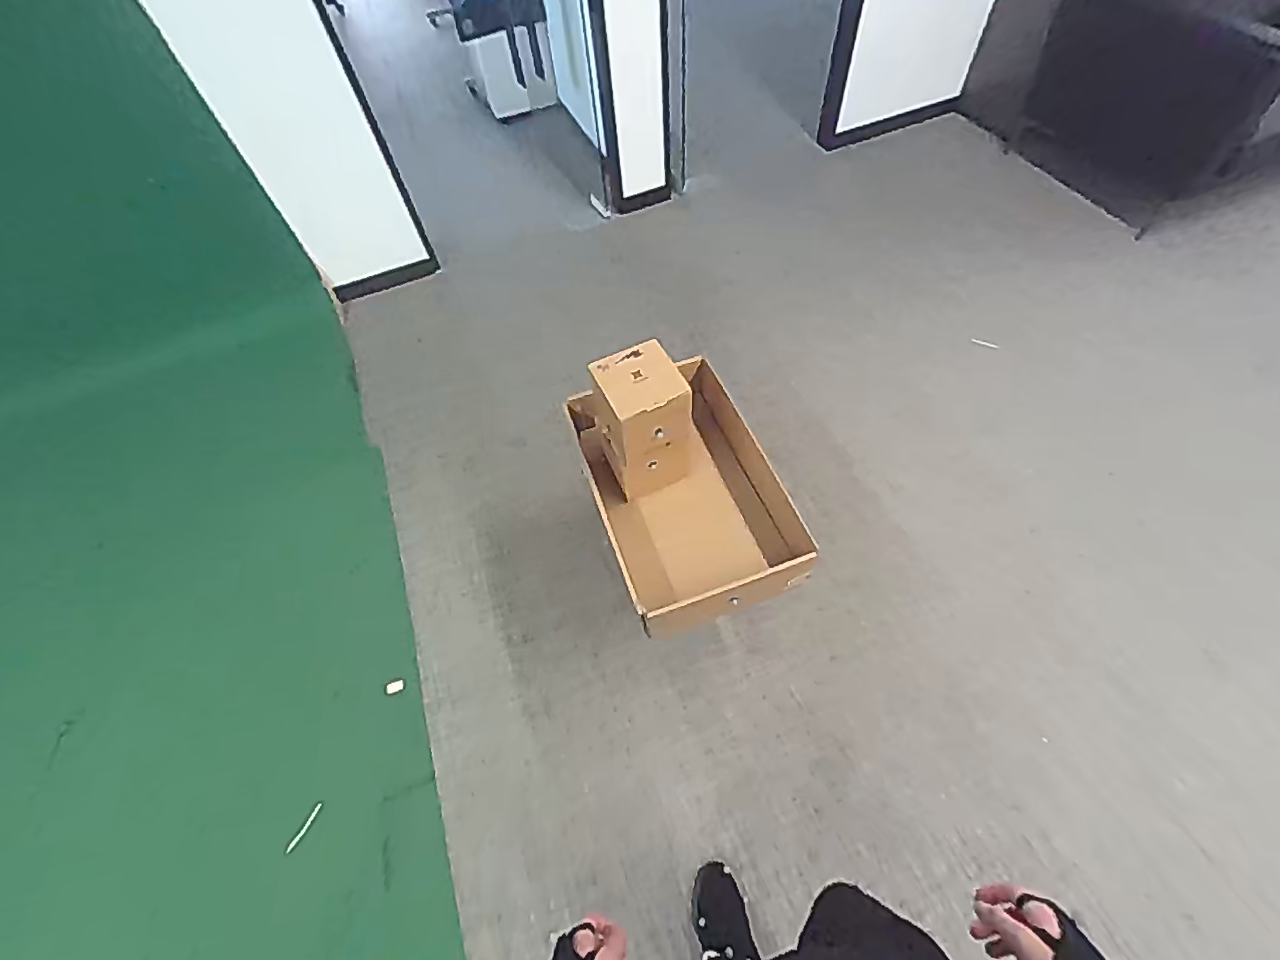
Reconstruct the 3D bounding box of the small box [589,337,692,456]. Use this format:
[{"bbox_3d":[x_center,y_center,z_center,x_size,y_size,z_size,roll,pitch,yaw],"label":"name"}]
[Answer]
[{"bbox_3d":[0.005,-0.173,1.190,0.168,0.176,0.179,-24,60,-10],"label":"small box"}]
